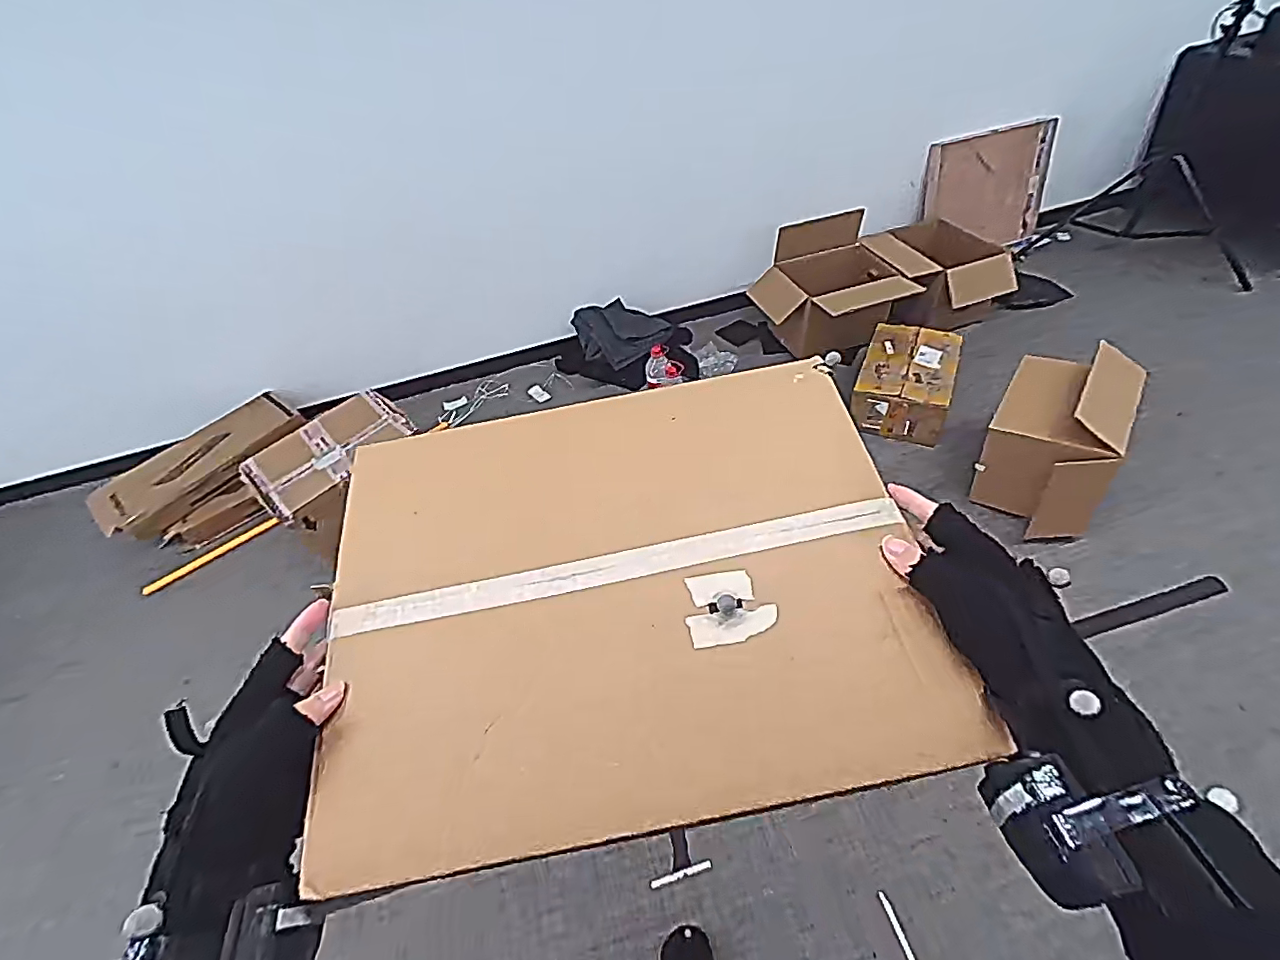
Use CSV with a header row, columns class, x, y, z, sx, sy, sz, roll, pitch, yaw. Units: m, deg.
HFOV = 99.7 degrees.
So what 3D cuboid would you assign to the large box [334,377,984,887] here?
class,x,y,z,sx,sy,sz,roll,pitch,yaw
large box,-0.001,0.150,0.522,0.408,0.320,0.320,-11,58,-2
